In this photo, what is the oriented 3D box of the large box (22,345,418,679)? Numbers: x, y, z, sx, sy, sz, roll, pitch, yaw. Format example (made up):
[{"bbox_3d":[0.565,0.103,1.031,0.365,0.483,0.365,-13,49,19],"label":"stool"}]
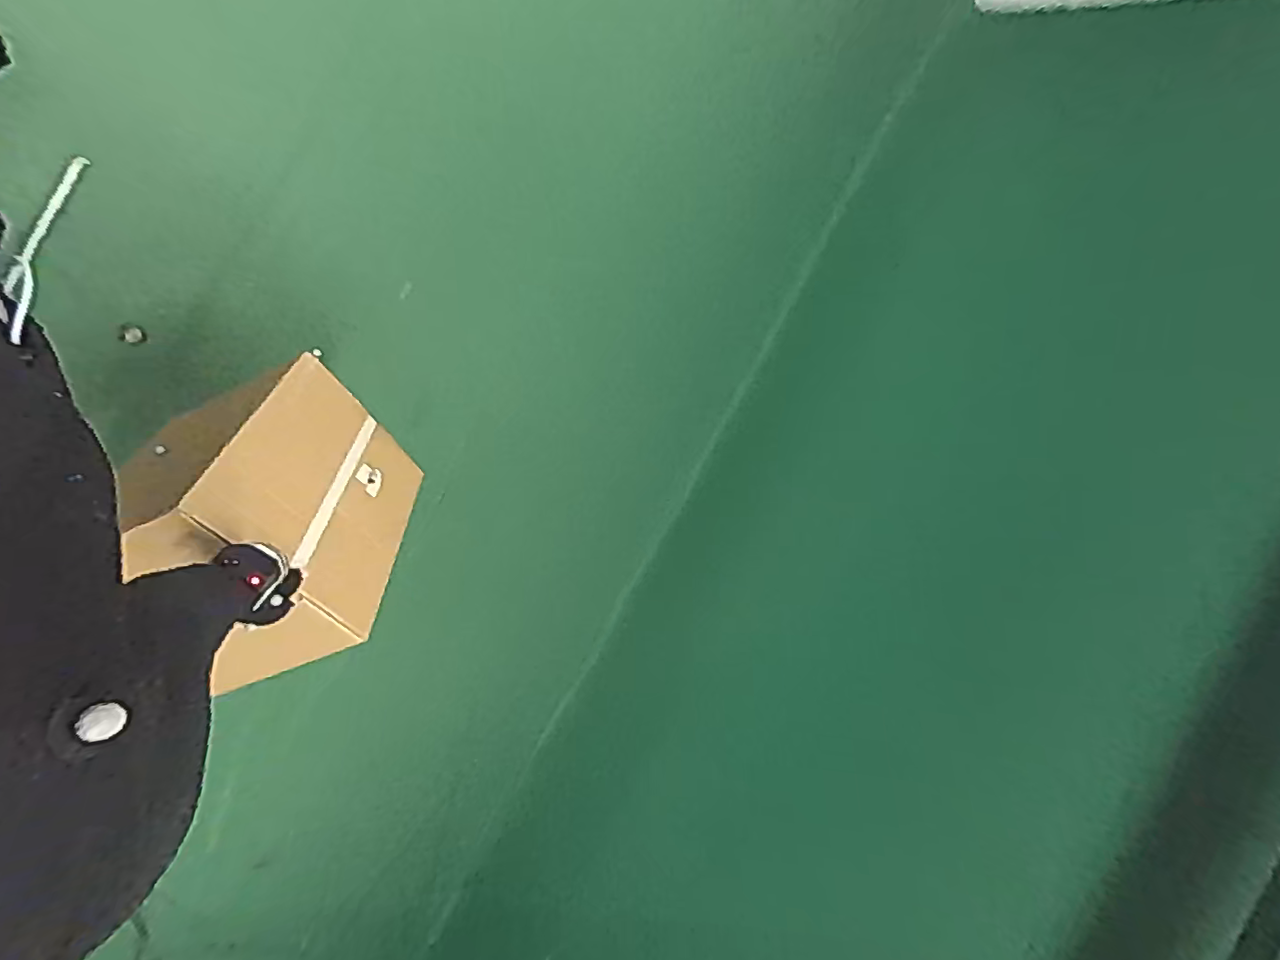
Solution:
[{"bbox_3d":[-0.635,0.050,0.909,0.320,0.408,0.320,-22,129,10],"label":"large box"}]
